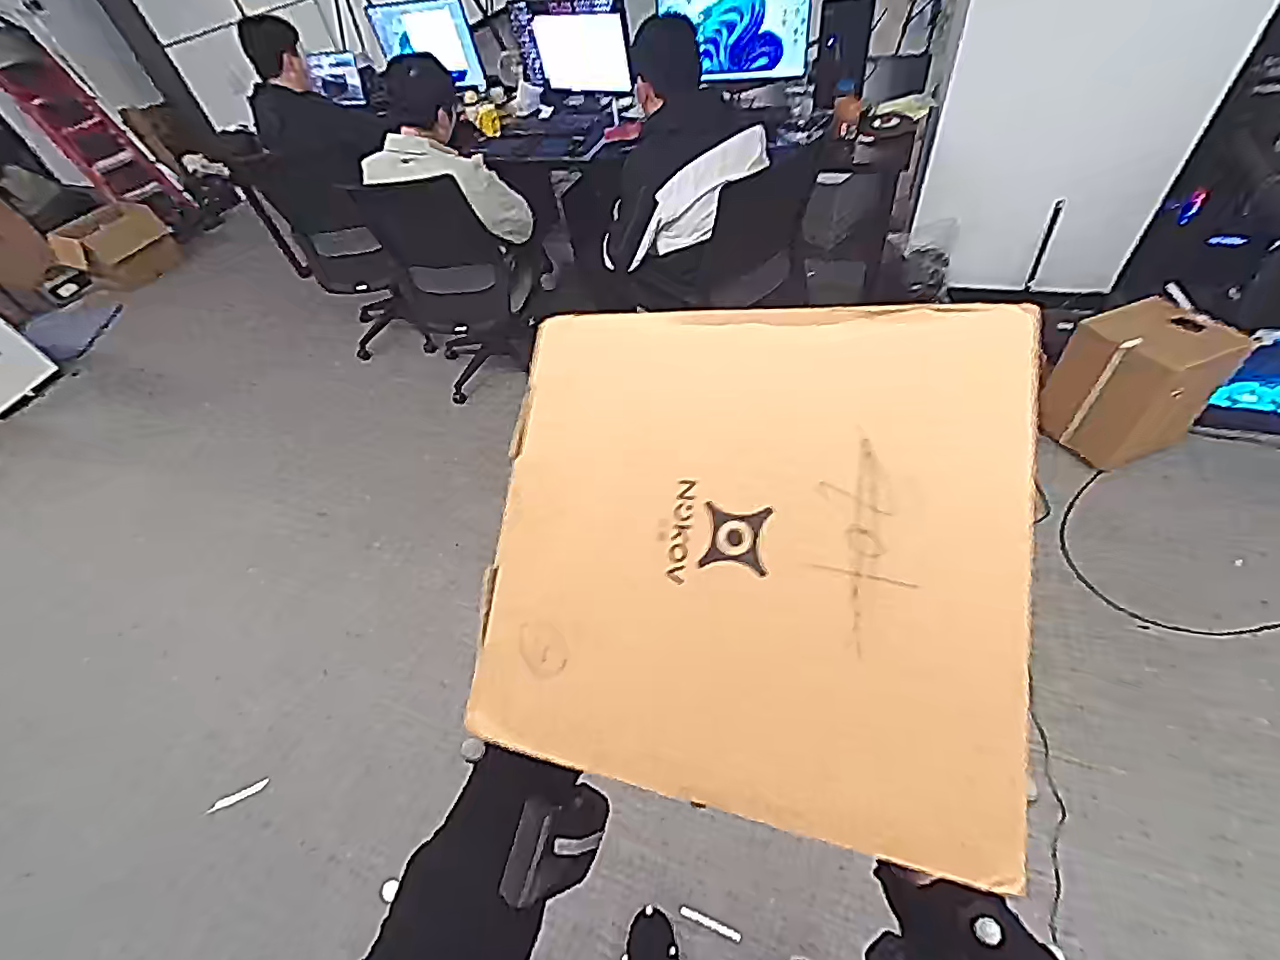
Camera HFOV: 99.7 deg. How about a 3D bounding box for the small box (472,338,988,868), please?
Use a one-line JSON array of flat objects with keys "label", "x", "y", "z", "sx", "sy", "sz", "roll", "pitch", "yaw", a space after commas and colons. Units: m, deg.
[{"label": "small box", "x": 0.051, "y": 0.043, "z": 0.269, "sx": 0.179, "sy": 0.176, "sz": 0.168, "roll": 3, "pitch": 80, "yaw": 19}]
